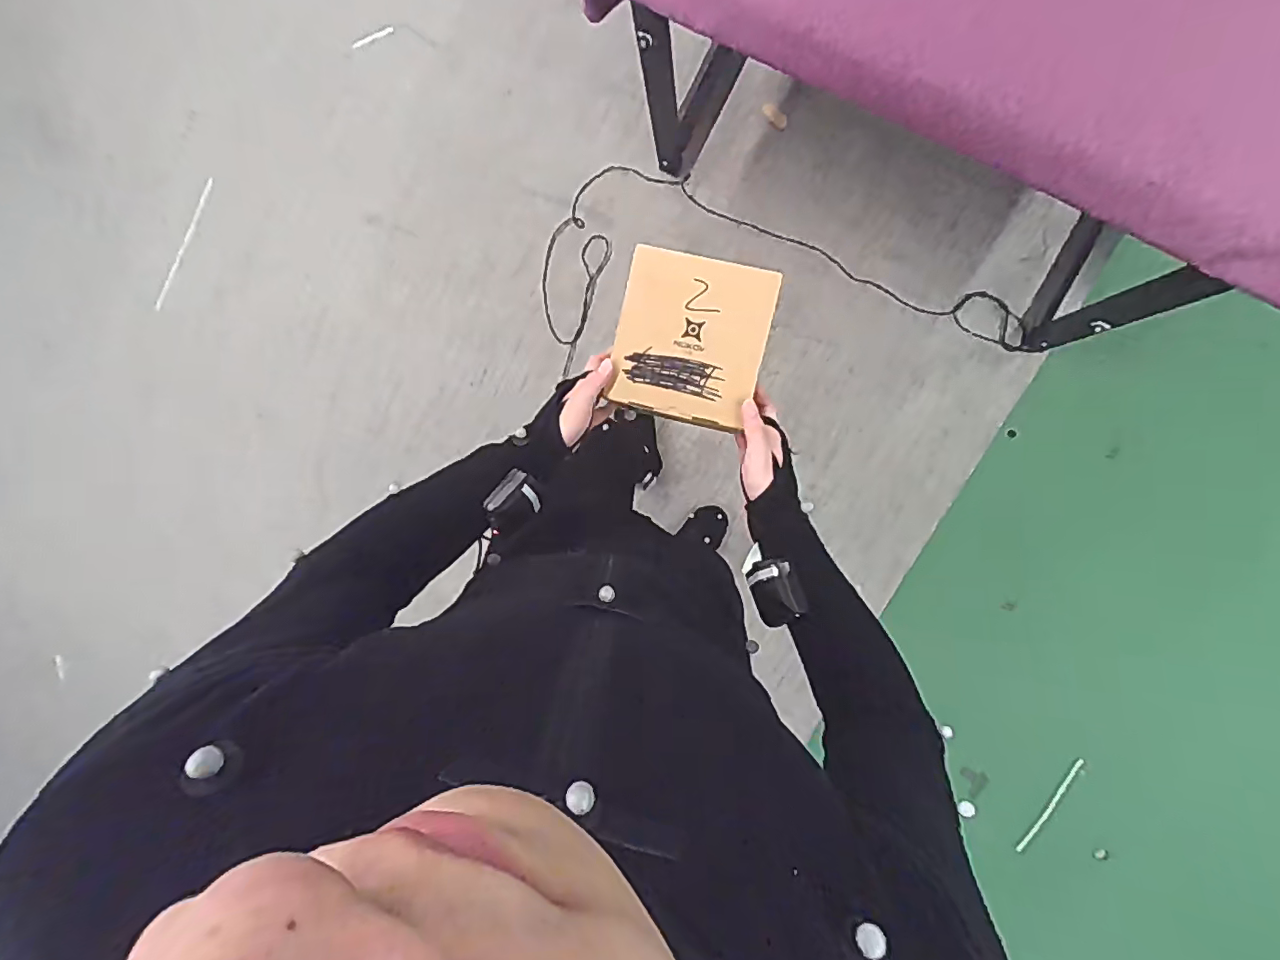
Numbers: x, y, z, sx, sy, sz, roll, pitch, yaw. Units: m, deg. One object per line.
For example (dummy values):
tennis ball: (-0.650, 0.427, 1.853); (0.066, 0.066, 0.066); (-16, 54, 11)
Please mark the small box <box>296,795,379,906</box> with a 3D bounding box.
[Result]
small box: (-0.863, 1.026, 1.489); (0.168, 0.176, 0.179); (35, 95, 4)
